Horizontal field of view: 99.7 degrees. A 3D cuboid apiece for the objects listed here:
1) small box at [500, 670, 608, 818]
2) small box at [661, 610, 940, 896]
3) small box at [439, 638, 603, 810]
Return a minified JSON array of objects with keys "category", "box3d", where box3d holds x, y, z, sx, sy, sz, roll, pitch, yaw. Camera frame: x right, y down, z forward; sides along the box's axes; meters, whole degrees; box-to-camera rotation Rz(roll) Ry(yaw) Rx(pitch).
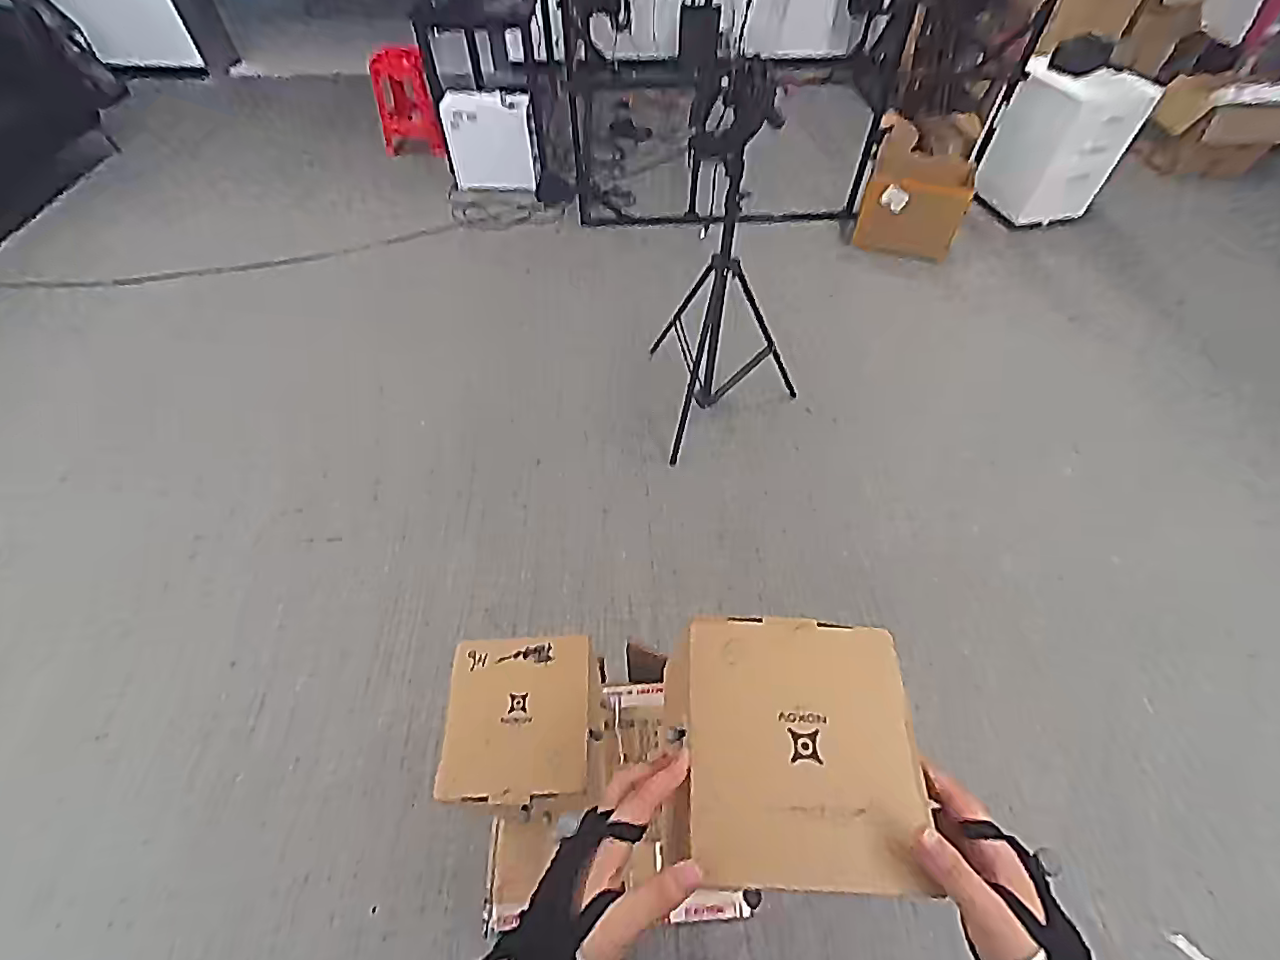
[{"category":"small box","box3d":[-0.138,0.405,0.830,0.168,0.176,0.179,-5,55,-1]},{"category":"small box","box3d":[0.108,0.225,0.451,0.168,0.176,0.179,4,58,-2]},{"category":"small box","box3d":[-0.136,0.316,0.691,0.168,0.176,0.179,-3,55,0]}]
